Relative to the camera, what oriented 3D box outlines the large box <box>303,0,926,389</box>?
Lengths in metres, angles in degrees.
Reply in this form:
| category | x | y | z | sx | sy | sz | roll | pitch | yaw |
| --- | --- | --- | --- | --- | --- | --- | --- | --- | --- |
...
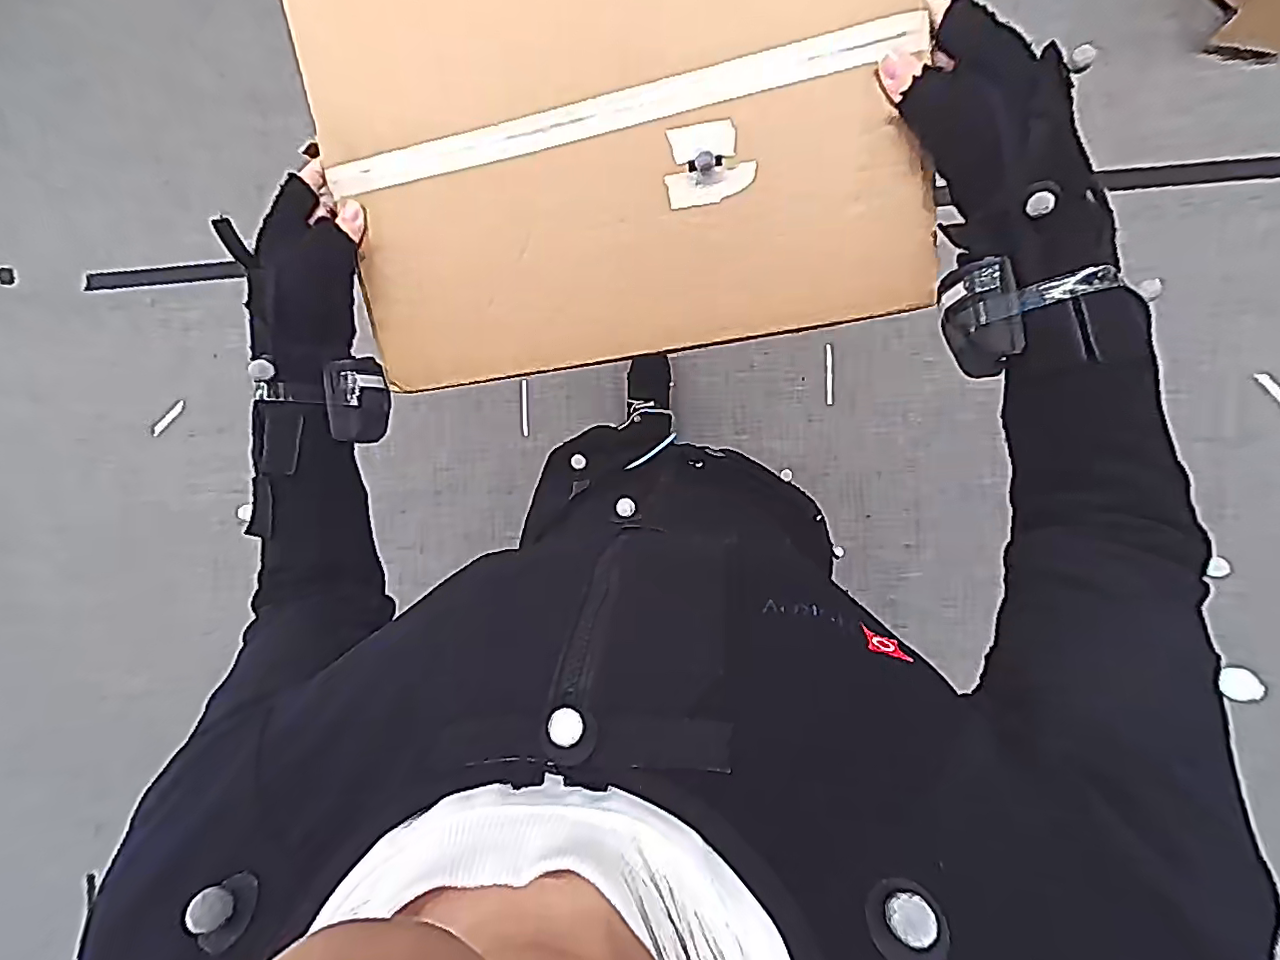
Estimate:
| category | x | y | z | sx | sy | sz | roll | pitch | yaw |
| --- | --- | --- | --- | --- | --- | --- | --- | --- | --- |
| large box | -0.004 | -0.284 | 0.515 | 0.408 | 0.320 | 0.320 | -8 | 104 | 10 |
